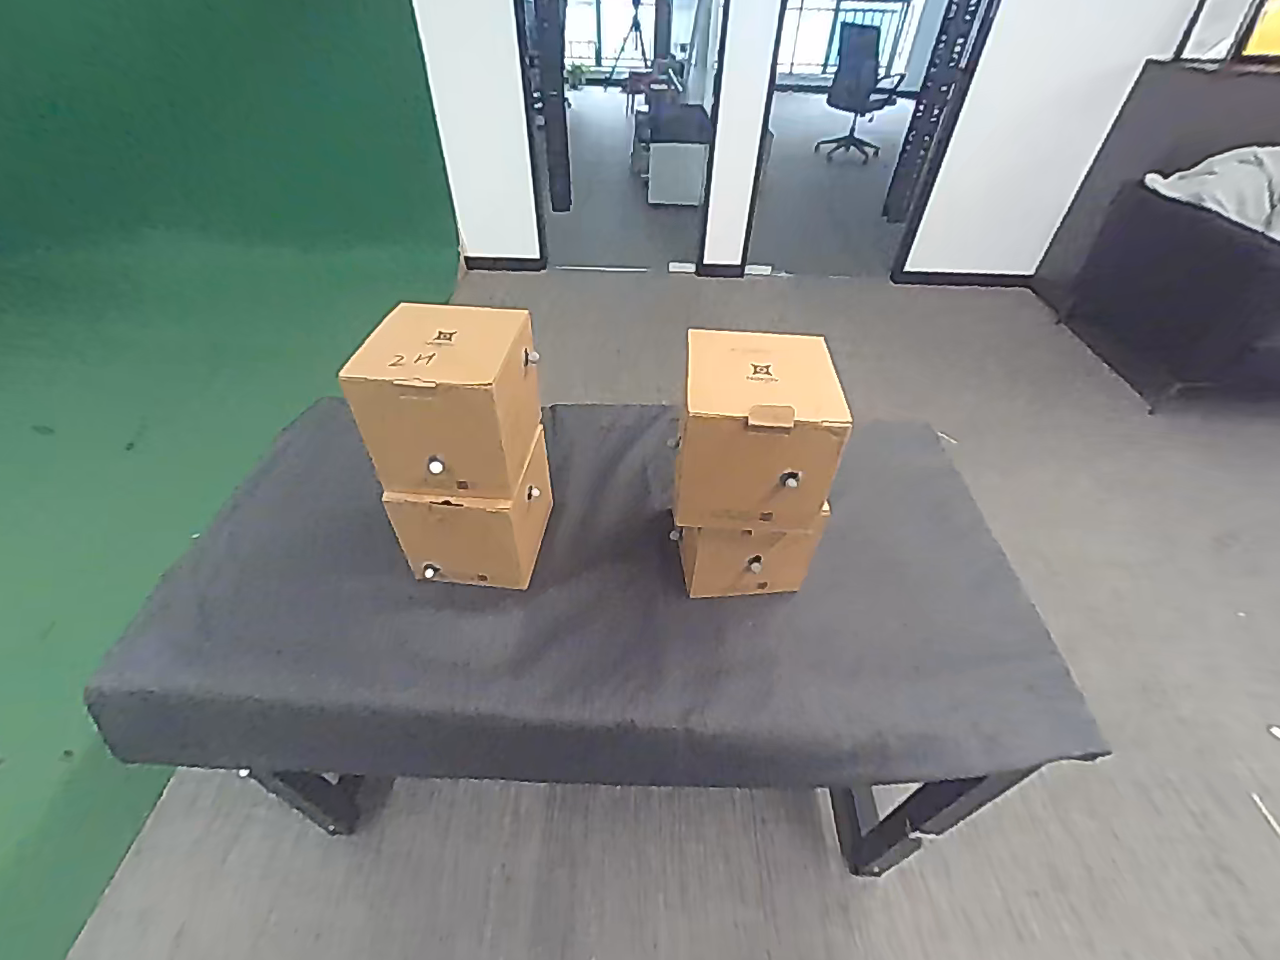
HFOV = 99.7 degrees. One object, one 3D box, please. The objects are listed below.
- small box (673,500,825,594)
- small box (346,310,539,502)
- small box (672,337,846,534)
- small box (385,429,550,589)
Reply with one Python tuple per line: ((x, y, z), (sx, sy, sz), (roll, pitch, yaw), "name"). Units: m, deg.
((0.142, 0.051, 0.780), (0.168, 0.176, 0.179), (-3, 44, -5), "small box")
((-0.228, -0.095, 0.682), (0.168, 0.176, 0.179), (3, 43, 2), "small box")
((0.128, -0.053, 0.653), (0.168, 0.176, 0.179), (4, 42, 1), "small box")
((-0.231, 0.037, 0.782), (0.168, 0.176, 0.179), (5, 42, 3), "small box")
